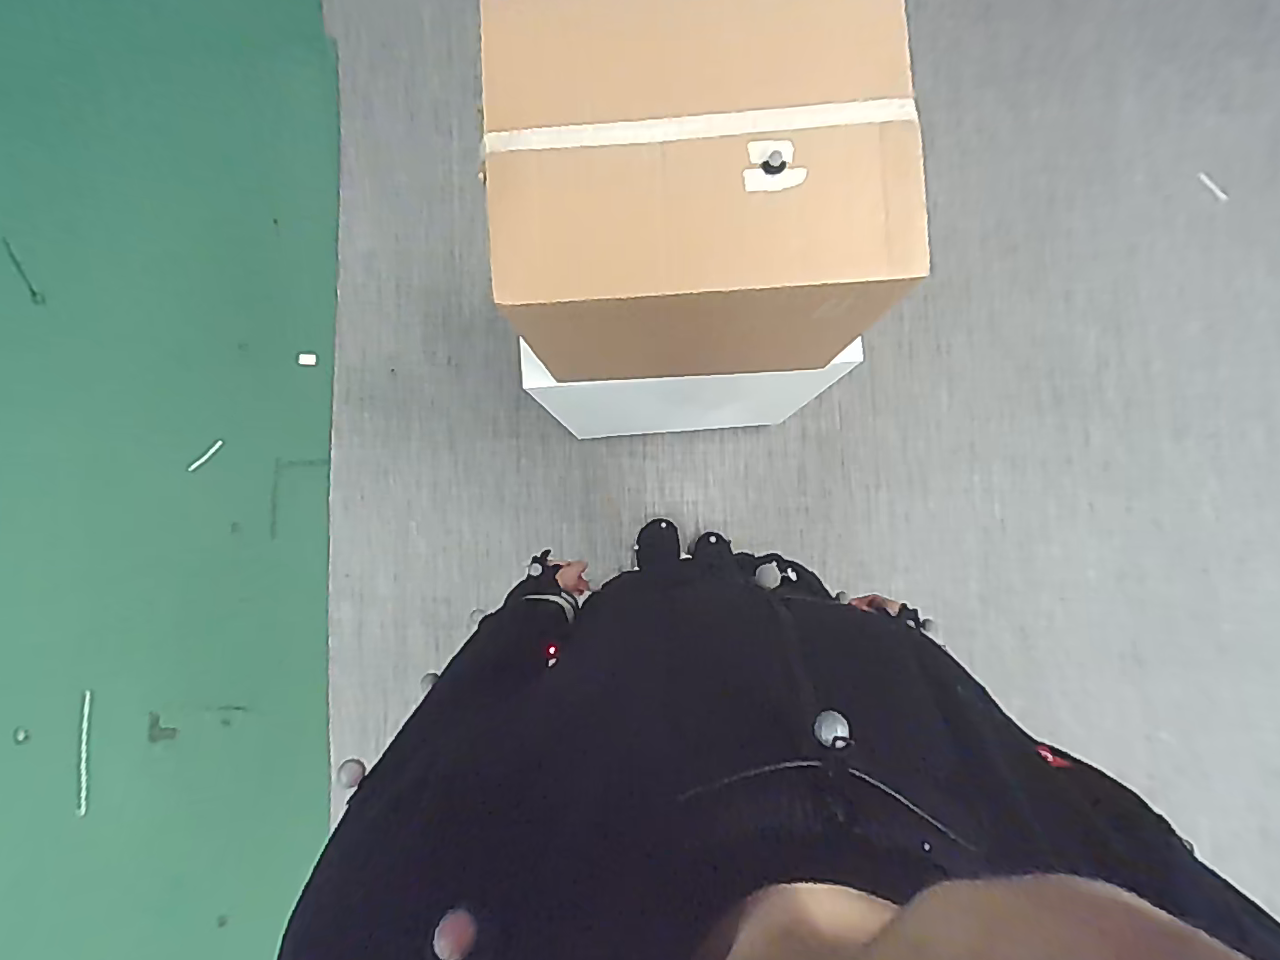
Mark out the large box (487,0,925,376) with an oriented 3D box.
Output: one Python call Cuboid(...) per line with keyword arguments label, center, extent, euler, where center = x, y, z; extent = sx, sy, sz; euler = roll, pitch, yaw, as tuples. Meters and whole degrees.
Cuboid(label="large box", center=(0.059, -0.328, 0.662), extent=(0.408, 0.320, 0.320), euler=(-4, 87, 1))
